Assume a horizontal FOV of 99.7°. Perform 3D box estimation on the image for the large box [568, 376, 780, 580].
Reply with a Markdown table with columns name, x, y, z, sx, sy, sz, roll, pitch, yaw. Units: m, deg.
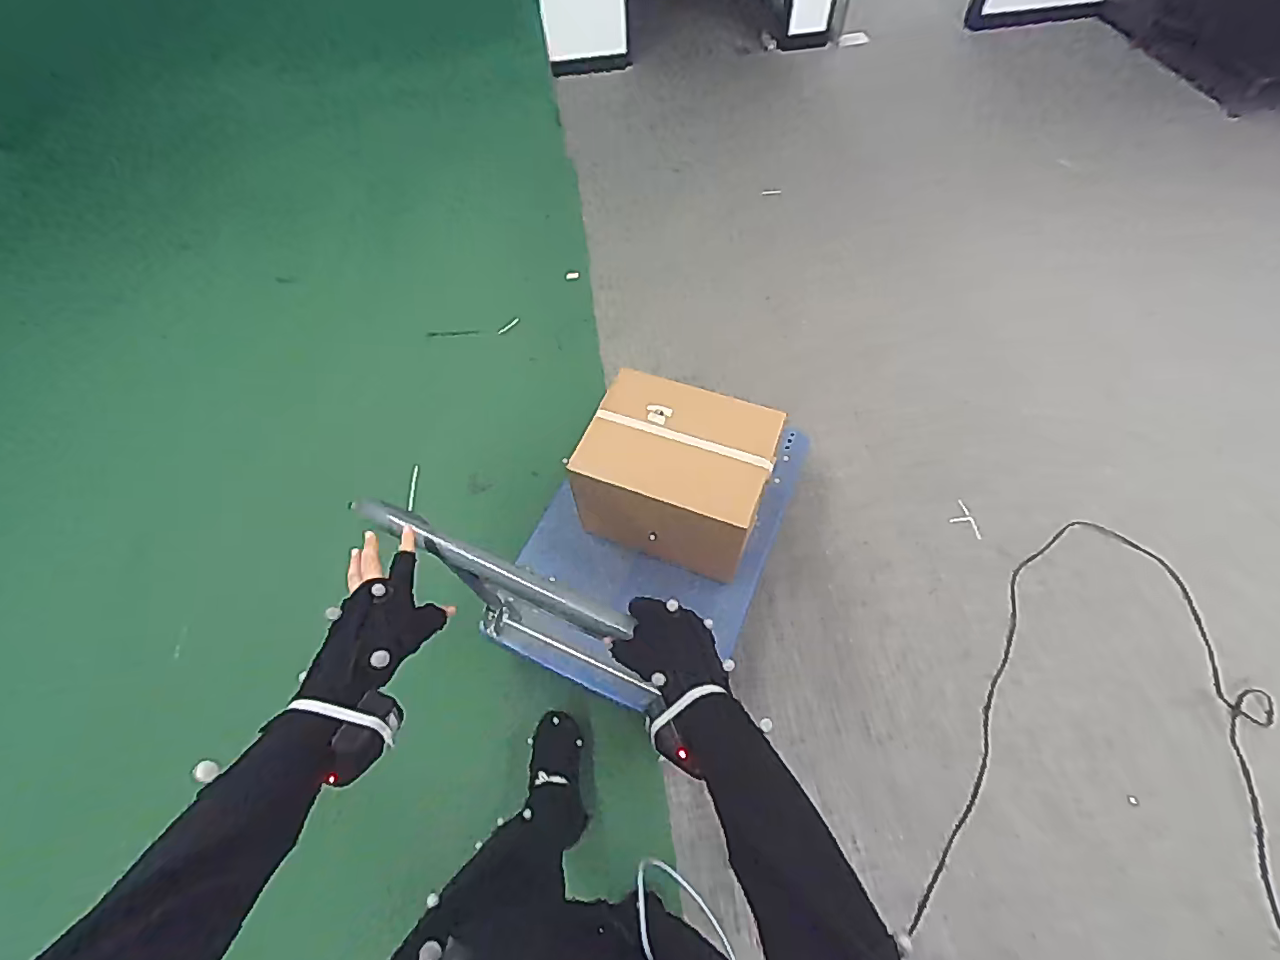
| name | x | y | z | sx | sy | sz | roll | pitch | yaw |
| --- | --- | --- | --- | --- | --- | --- | --- | --- | --- |
| large box | 0.090 | 0.001 | 1.320 | 0.408 | 0.320 | 0.320 | 17 | 60 | 13 |
